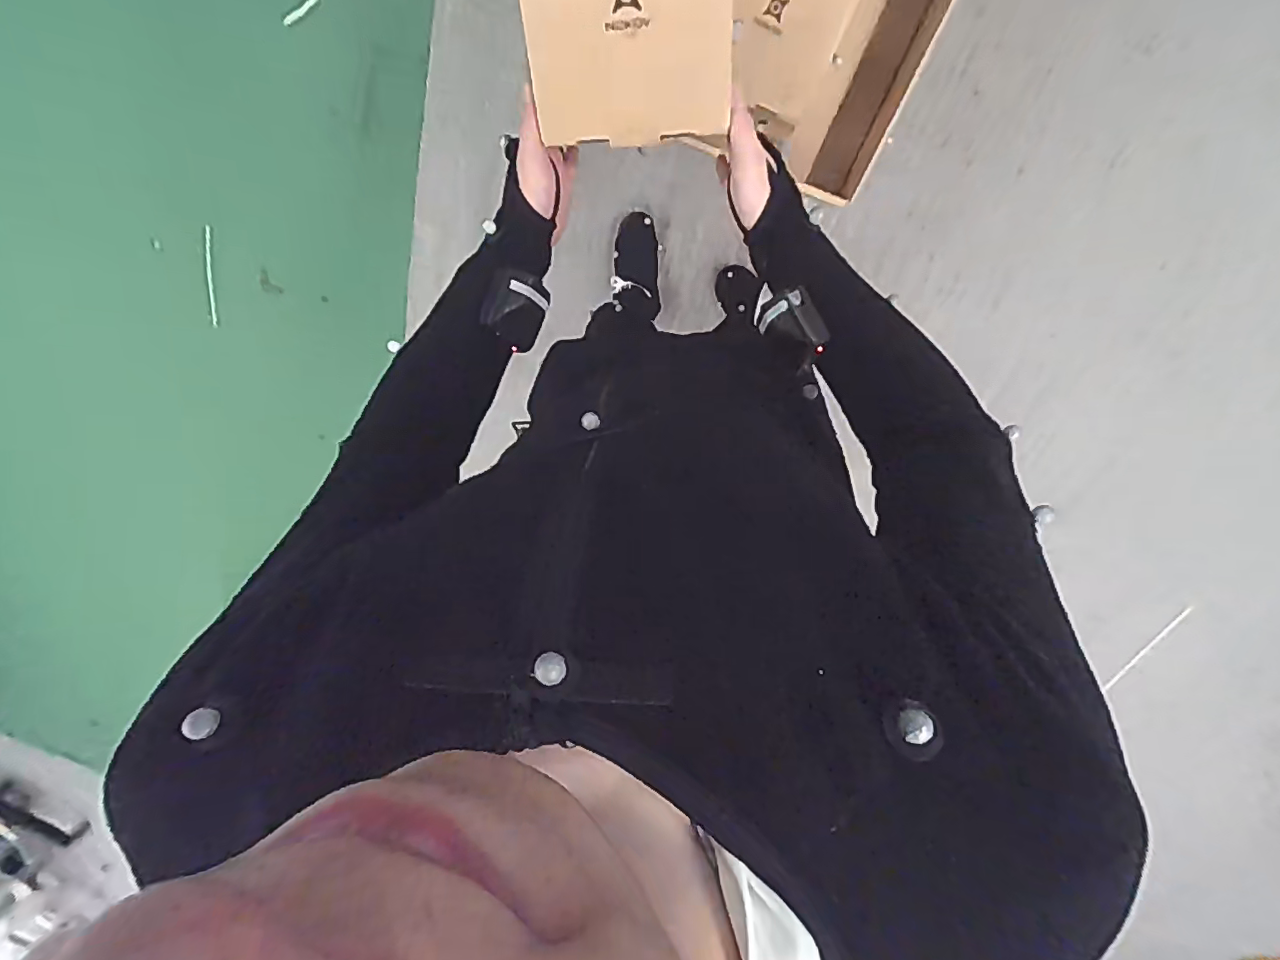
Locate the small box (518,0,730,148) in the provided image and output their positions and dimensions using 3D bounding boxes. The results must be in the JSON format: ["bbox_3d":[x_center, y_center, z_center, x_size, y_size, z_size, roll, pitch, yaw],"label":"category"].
[{"bbox_3d":[-0.005,-0.411,0.478,0.168,0.176,0.179,-1,127,7],"label":"small box"}]

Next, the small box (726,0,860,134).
[{"bbox_3d":[0.166,-0.568,0.681,0.168,0.176,0.179,25,118,-3],"label":"small box"}]
